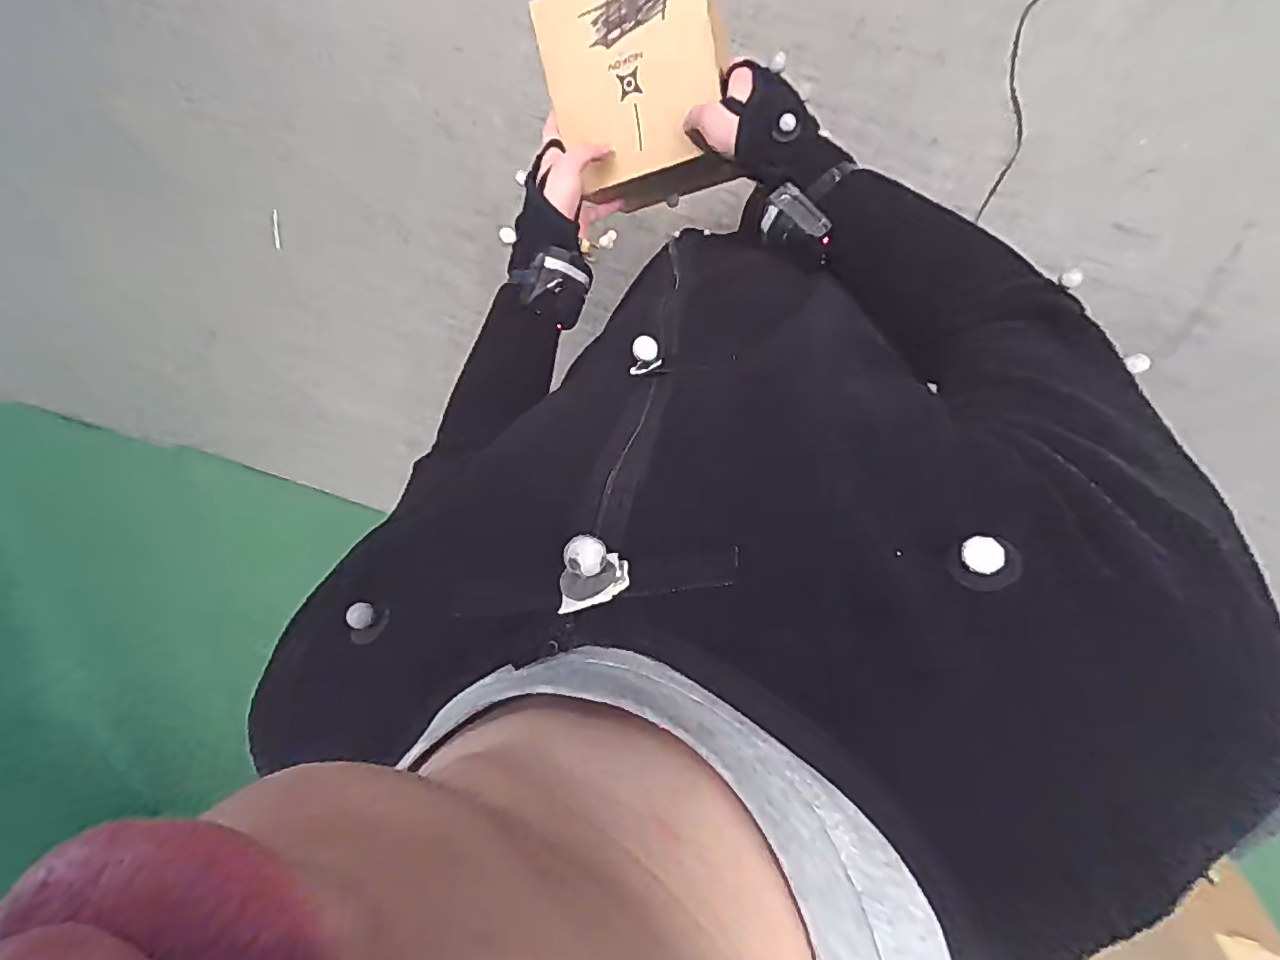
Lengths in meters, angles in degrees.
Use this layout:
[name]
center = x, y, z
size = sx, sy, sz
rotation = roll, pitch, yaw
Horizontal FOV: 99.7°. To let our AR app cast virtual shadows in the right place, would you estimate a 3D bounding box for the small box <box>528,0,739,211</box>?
[small box]
center = 0.006, -0.417, 0.595
size = 0.168, 0.176, 0.179
rotation = -6, 108, 22
